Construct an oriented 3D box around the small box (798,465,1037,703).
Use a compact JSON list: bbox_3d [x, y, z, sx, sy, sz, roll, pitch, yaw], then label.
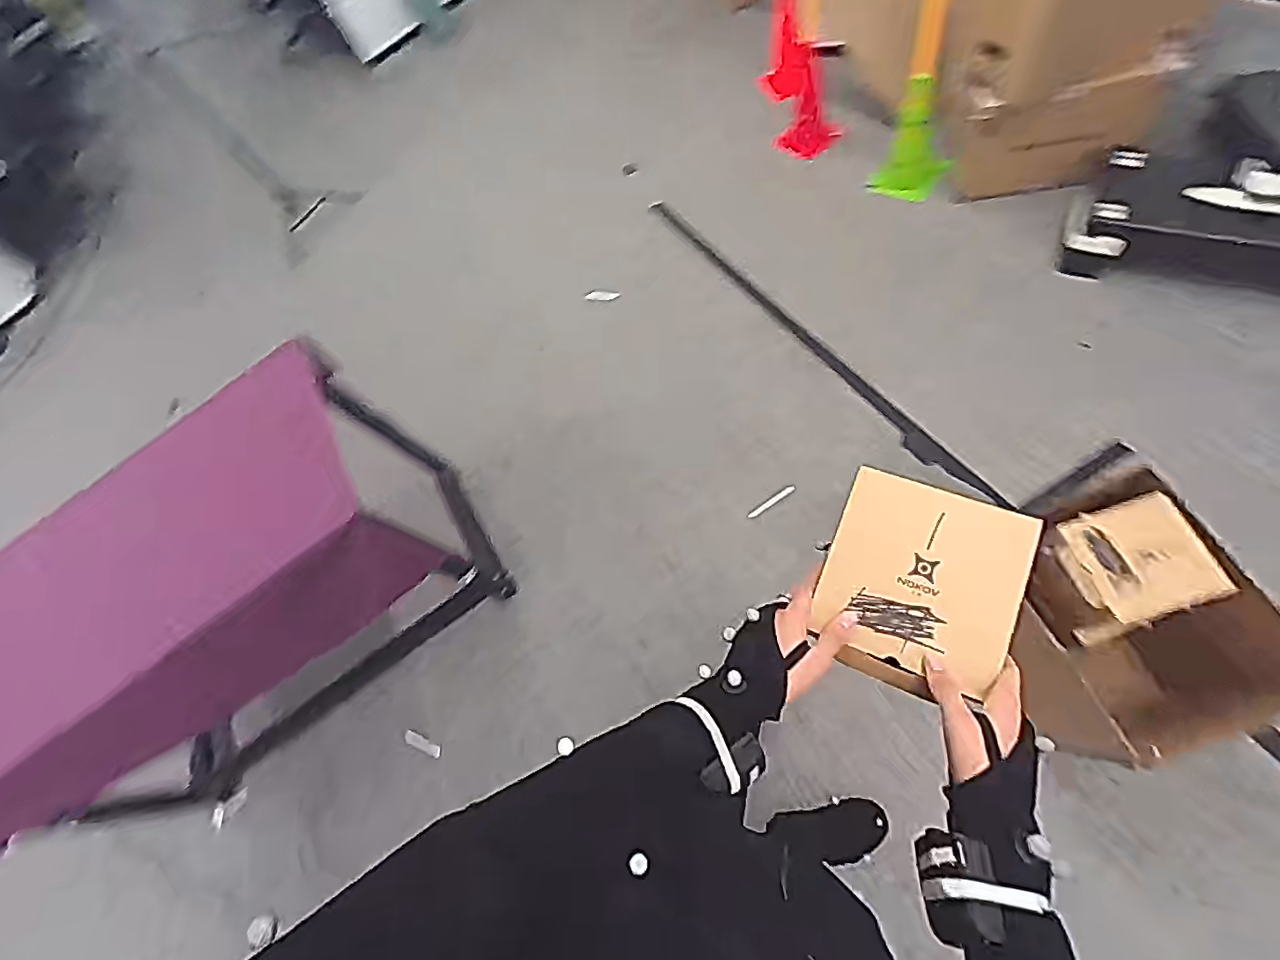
[{"bbox_3d":[0.274,0.109,0.571,0.168,0.176,0.179,18,79,19],"label":"small box"}]
